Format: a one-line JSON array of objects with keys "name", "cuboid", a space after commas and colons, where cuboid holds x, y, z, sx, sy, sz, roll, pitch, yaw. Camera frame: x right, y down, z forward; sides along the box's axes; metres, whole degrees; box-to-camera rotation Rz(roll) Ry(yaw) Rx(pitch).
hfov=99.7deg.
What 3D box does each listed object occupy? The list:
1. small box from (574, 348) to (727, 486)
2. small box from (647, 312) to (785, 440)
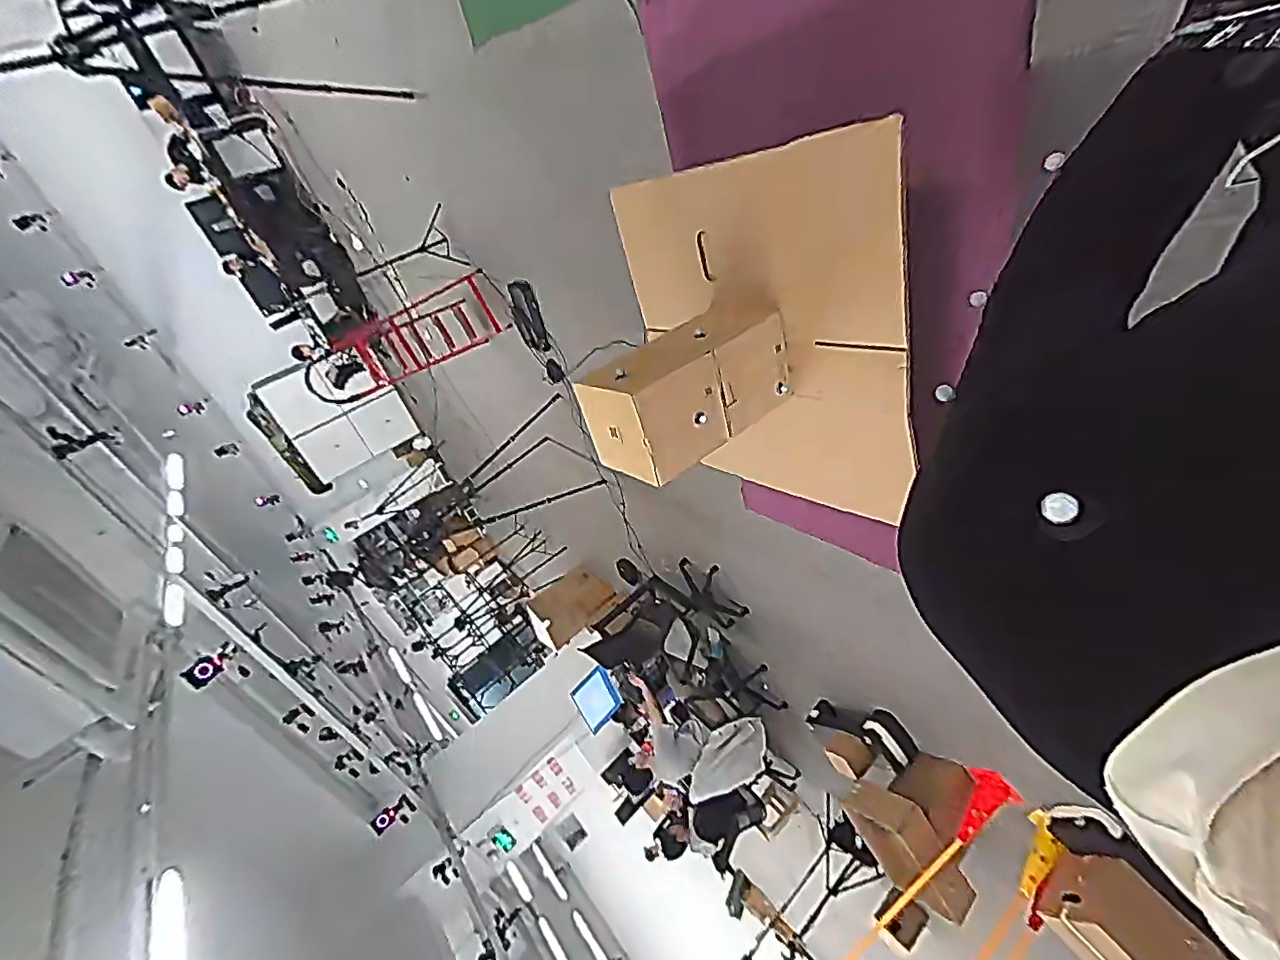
[{"name": "small box", "cuboid": [0.020, -0.116, 0.919, 0.179, 0.176, 0.168, 21, 136, 49]}, {"name": "small box", "cuboid": [0.146, -0.196, 0.983, 0.179, 0.176, 0.168, 23, 139, 49]}]
